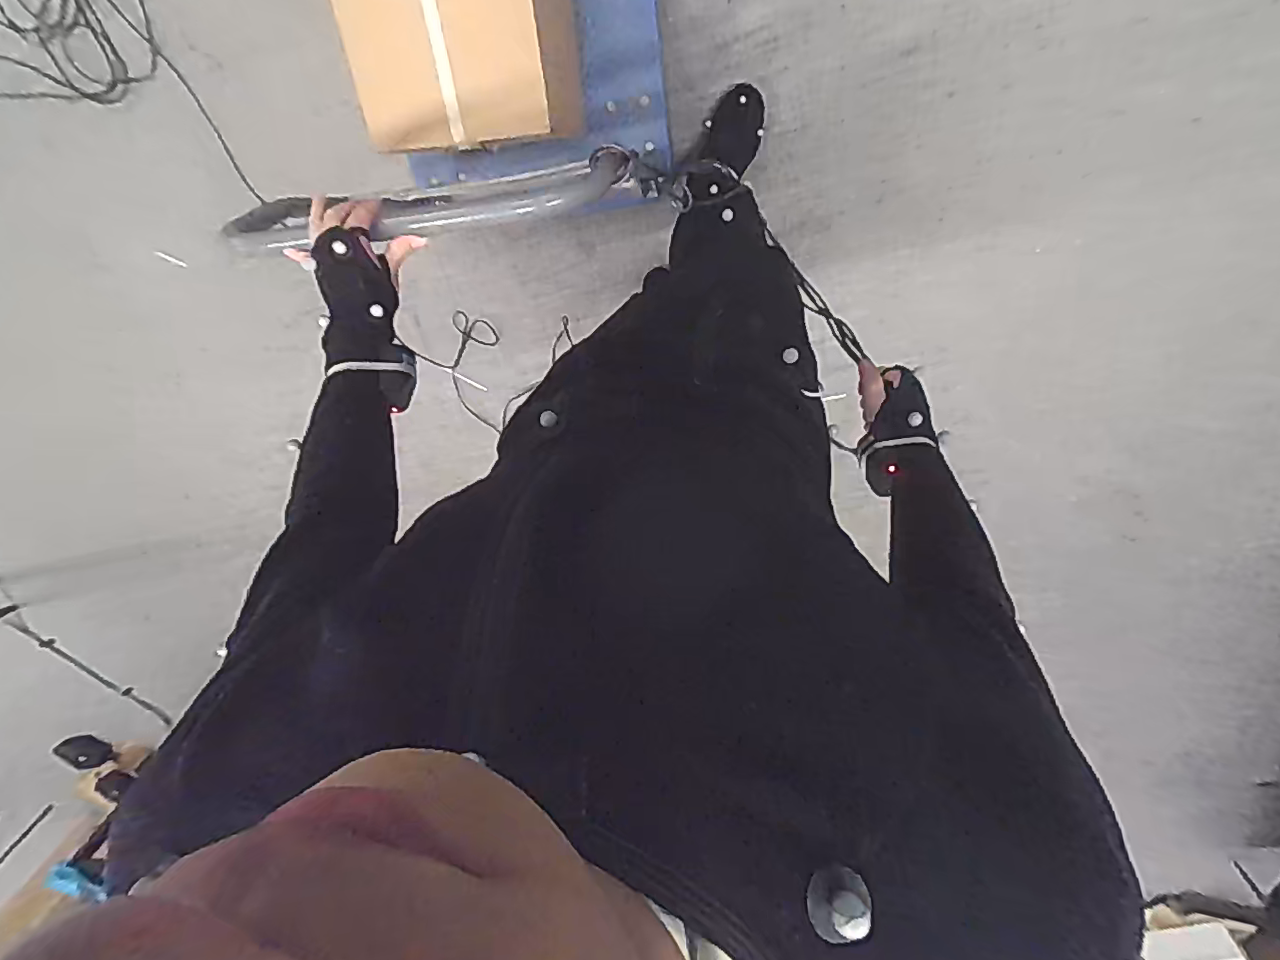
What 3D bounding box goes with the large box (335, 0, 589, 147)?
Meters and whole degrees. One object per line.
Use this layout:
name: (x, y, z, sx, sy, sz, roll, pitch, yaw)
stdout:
large box: (-0.288, -0.807, 0.902, 0.320, 0.320, 0.408, -1, 122, 8)
